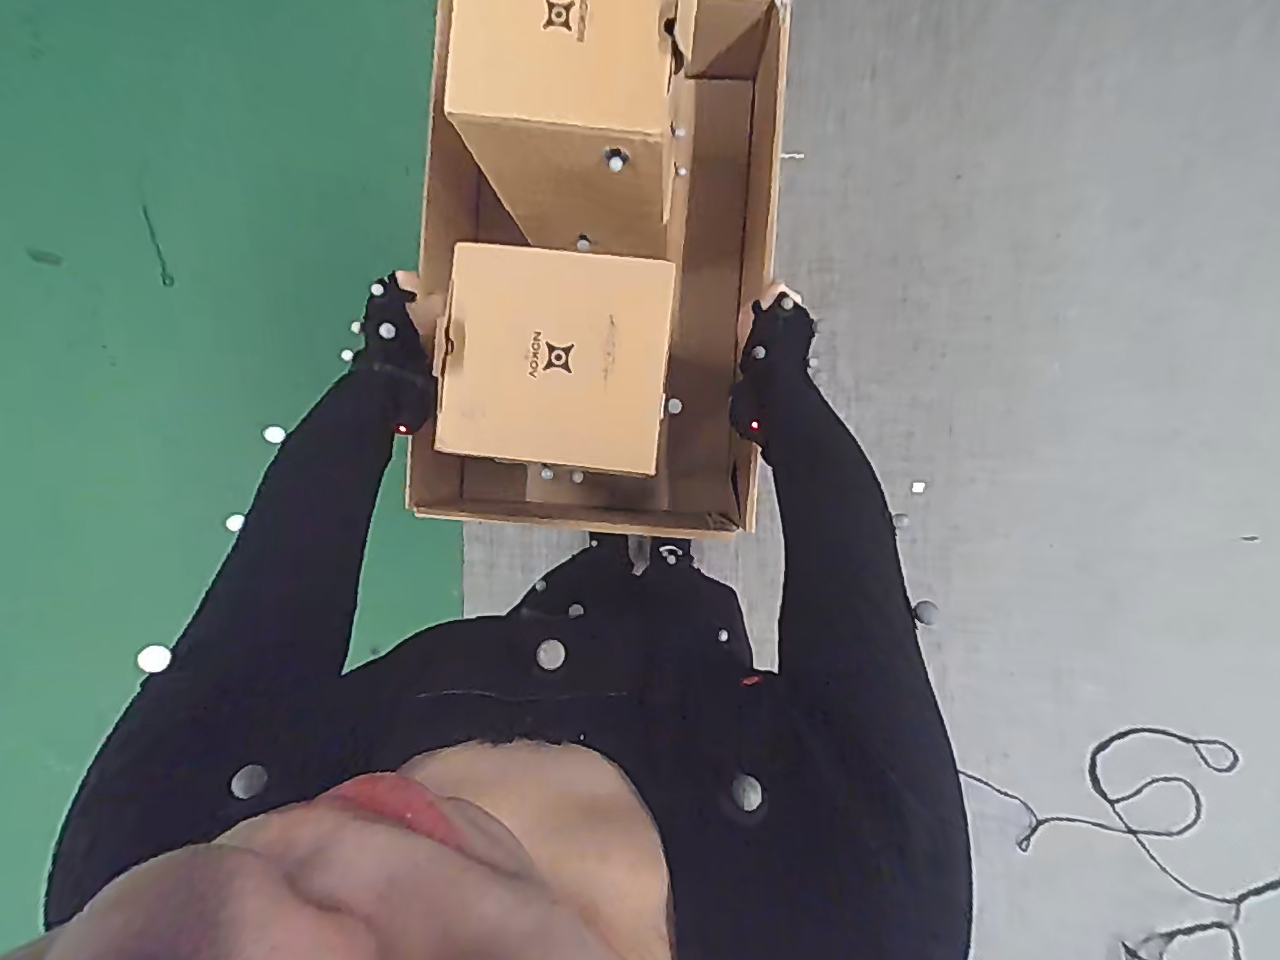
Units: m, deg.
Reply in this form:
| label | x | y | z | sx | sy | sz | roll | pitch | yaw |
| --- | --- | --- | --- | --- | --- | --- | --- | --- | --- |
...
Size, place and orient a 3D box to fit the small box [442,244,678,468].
| label | x | y | z | sx | sy | sz | roll | pitch | yaw |
| --- | --- | --- | --- | --- | --- | --- | --- | --- | --- |
| small box | -0.062 | -0.100 | 0.508 | 0.179 | 0.176 | 0.168 | 6 | 92 | 1 |

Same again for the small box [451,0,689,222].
| label | x | y | z | sx | sy | sz | roll | pitch | yaw |
| --- | --- | --- | --- | --- | --- | --- | --- | --- | --- |
| small box | -0.052 | -0.360 | 0.500 | 0.179 | 0.176 | 0.168 | 7 | 93 | 1 |
